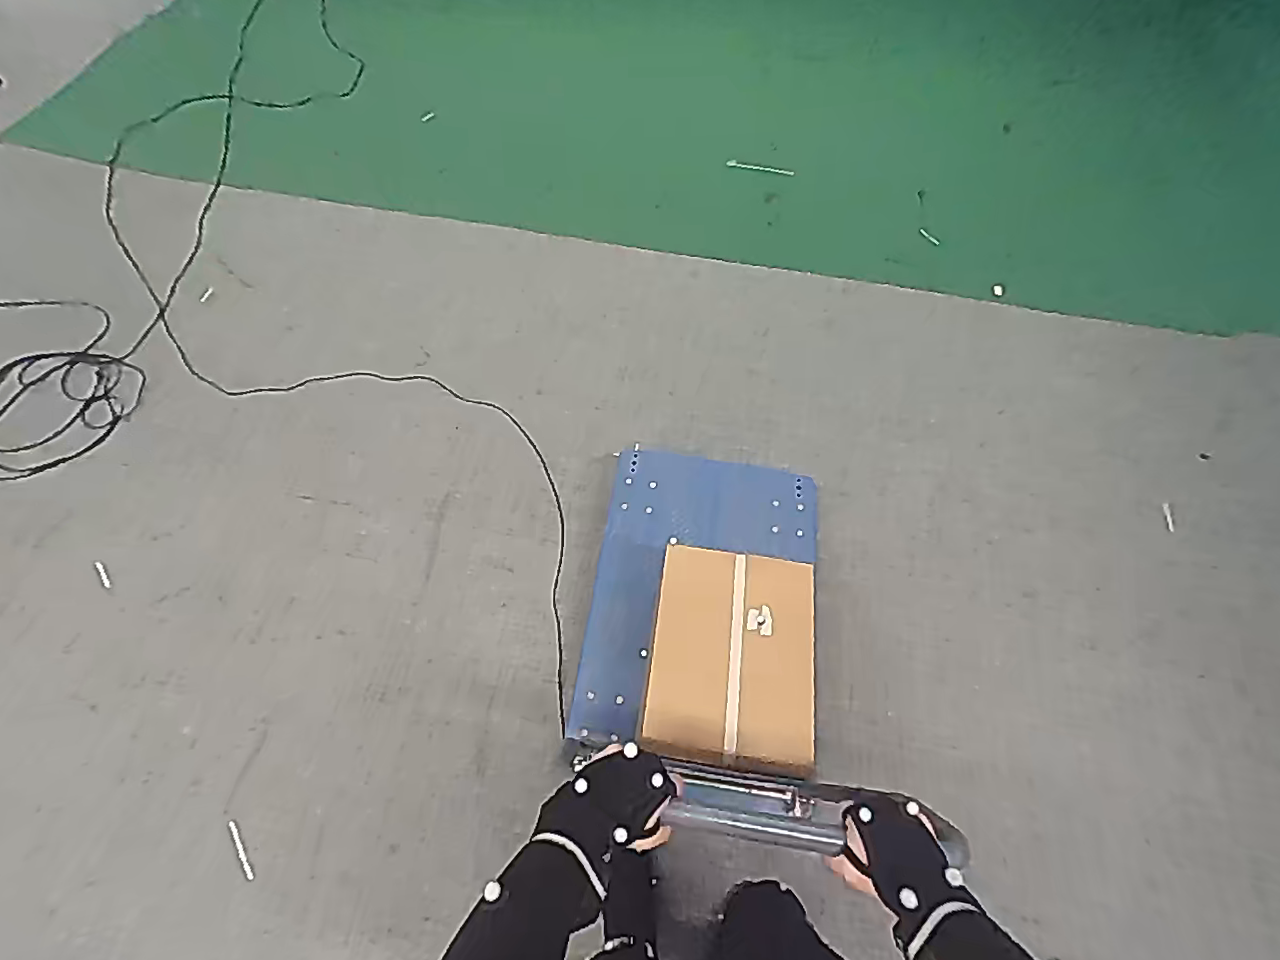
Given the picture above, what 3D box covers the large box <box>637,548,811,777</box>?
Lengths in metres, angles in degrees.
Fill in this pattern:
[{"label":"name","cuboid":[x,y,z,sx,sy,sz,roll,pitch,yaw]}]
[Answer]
[{"label":"large box","cuboid":[0.169,0.408,1.185,0.320,0.320,0.408,8,61,1]}]
